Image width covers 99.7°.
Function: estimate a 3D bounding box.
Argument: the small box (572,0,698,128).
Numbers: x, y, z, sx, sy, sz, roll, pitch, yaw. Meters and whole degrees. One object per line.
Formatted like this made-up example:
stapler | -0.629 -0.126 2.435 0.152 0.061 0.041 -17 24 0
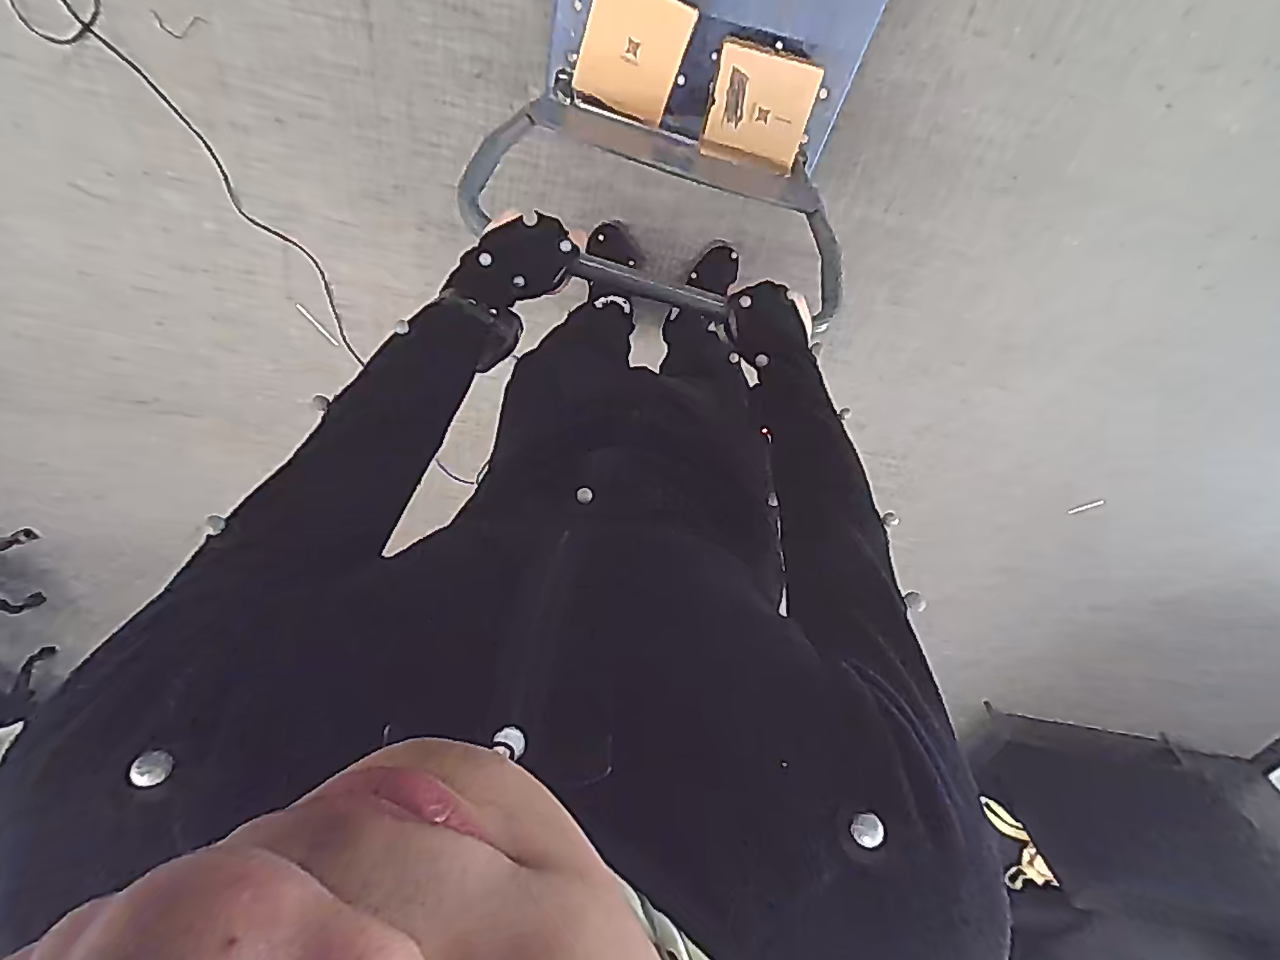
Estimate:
small box | -0.008 -0.773 0.962 0.168 0.176 0.179 20 133 -11
